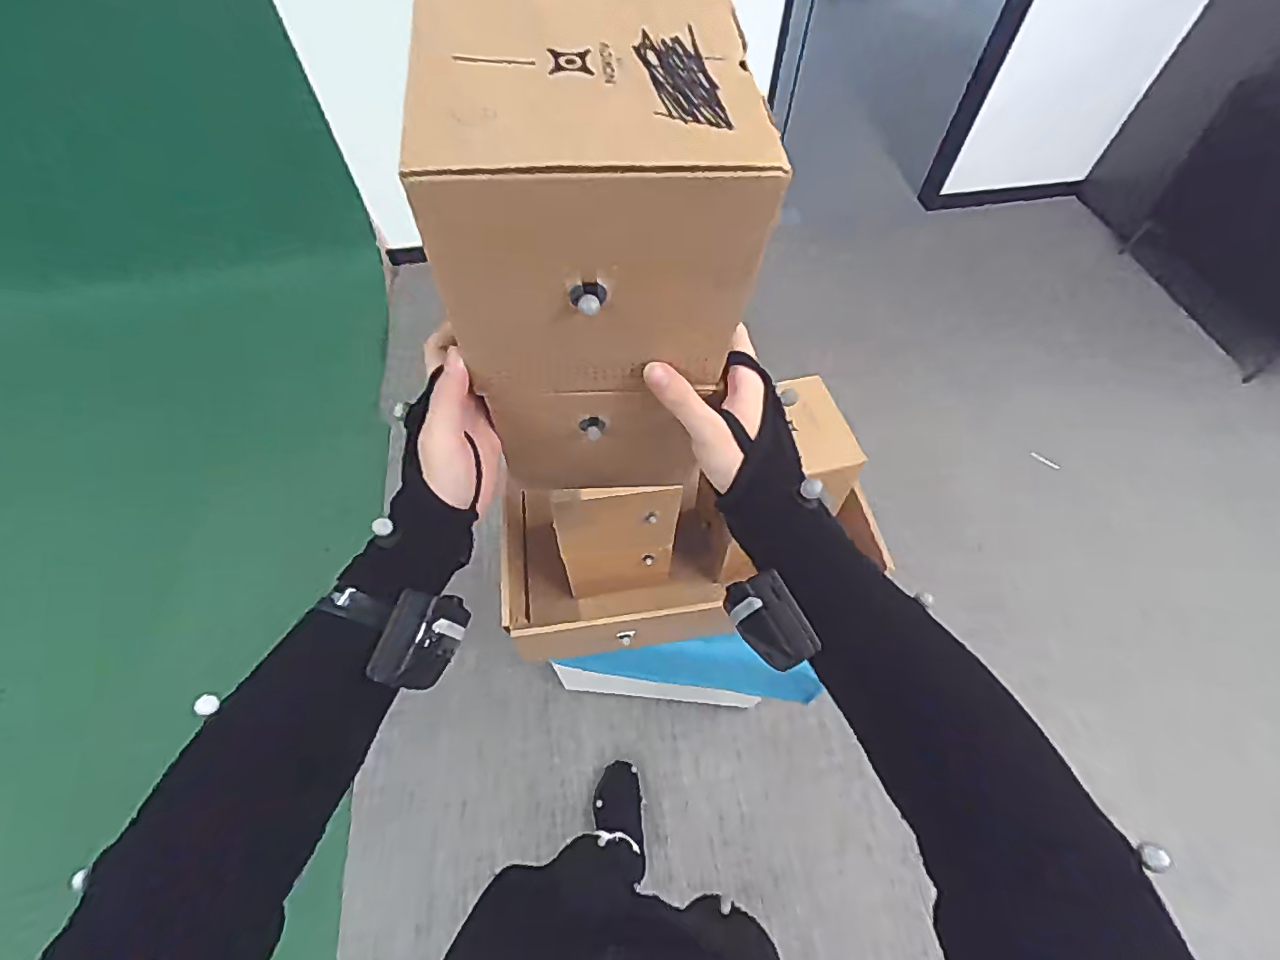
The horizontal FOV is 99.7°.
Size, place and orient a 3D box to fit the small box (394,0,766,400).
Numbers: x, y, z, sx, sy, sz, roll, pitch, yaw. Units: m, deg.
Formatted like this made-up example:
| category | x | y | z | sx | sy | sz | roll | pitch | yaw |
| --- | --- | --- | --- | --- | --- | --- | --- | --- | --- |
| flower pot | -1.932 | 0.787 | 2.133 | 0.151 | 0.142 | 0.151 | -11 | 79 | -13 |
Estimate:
| category | x | y | z | sx | sy | sz | roll | pitch | yaw |
| --- | --- | --- | --- | --- | --- | --- | --- | --- | --- |
| small box | -0.038 | -0.168 | 0.355 | 0.179 | 0.176 | 0.168 | -5 | 64 | -5 |

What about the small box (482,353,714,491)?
| category | x | y | z | sx | sy | sz | roll | pitch | yaw |
| --- | --- | --- | --- | --- | --- | --- | --- | --- | --- |
| small box | -0.039 | -0.096 | 0.503 | 0.179 | 0.176 | 0.168 | -1 | 64 | -5 |

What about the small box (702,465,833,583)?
| category | x | y | z | sx | sy | sz | roll | pitch | yaw |
| --- | --- | --- | --- | --- | --- | --- | --- | --- | --- |
| small box | 0.213 | 0.068 | 0.963 | 0.179 | 0.176 | 0.168 | -12 | 57 | -4 |

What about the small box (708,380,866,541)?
| category | x | y | z | sx | sy | sz | roll | pitch | yaw |
| --- | --- | --- | --- | --- | --- | --- | --- | --- | --- |
| small box | 0.207 | -0.024 | 0.826 | 0.179 | 0.176 | 0.168 | -11 | 57 | -6 |

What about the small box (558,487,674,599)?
| category | x | y | z | sx | sy | sz | roll | pitch | yaw |
| --- | --- | --- | --- | --- | --- | --- | --- | --- | --- |
| small box | -0.043 | 0.097 | 0.950 | 0.179 | 0.176 | 0.168 | -7 | 56 | -6 |
